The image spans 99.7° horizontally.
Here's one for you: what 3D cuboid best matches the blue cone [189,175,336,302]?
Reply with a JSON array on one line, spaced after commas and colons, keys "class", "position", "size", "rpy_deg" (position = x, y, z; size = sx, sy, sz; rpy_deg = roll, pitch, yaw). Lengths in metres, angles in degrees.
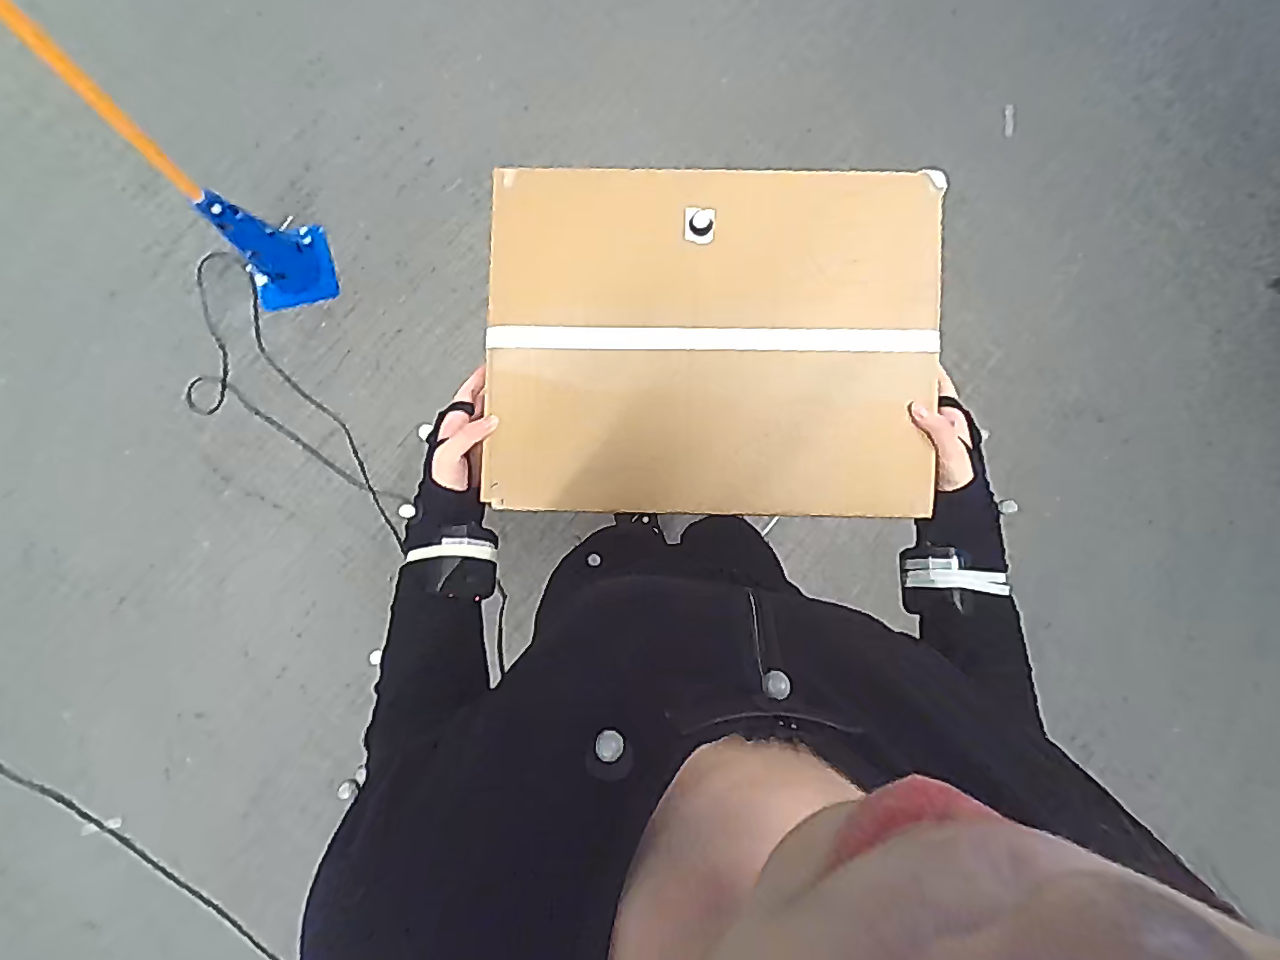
[{"class": "blue cone", "position": [-0.882, -0.566, 1.227], "size": [0.192, 0.380, 0.193], "rpy_deg": [-17, 90, -7]}]
